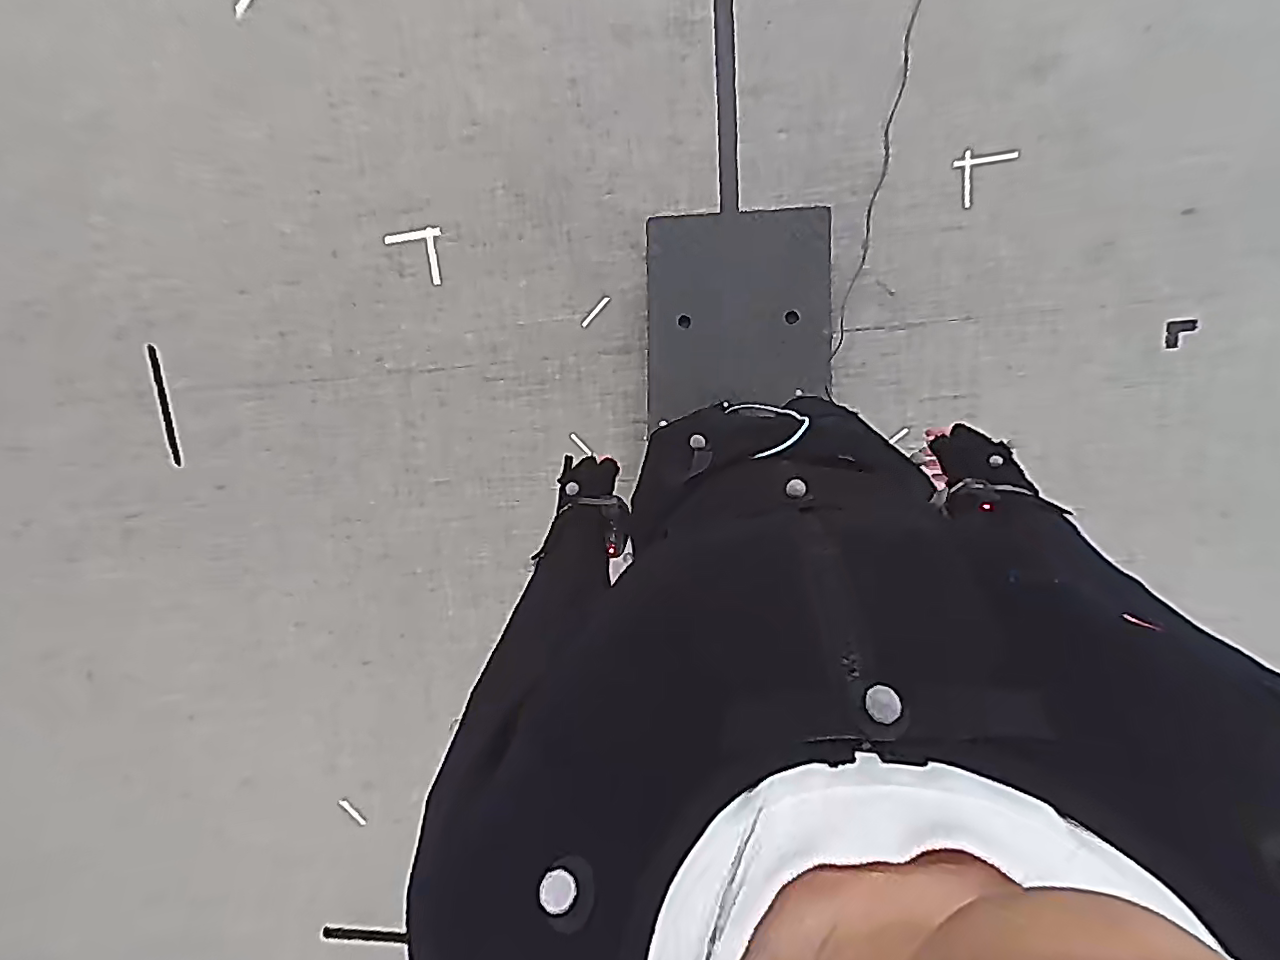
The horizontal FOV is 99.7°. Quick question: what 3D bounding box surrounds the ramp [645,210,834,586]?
[{"bbox_3d":[0.259,-0.216,1.455,0.509,0.206,0.991,-2,99,8],"label":"ramp"}]
